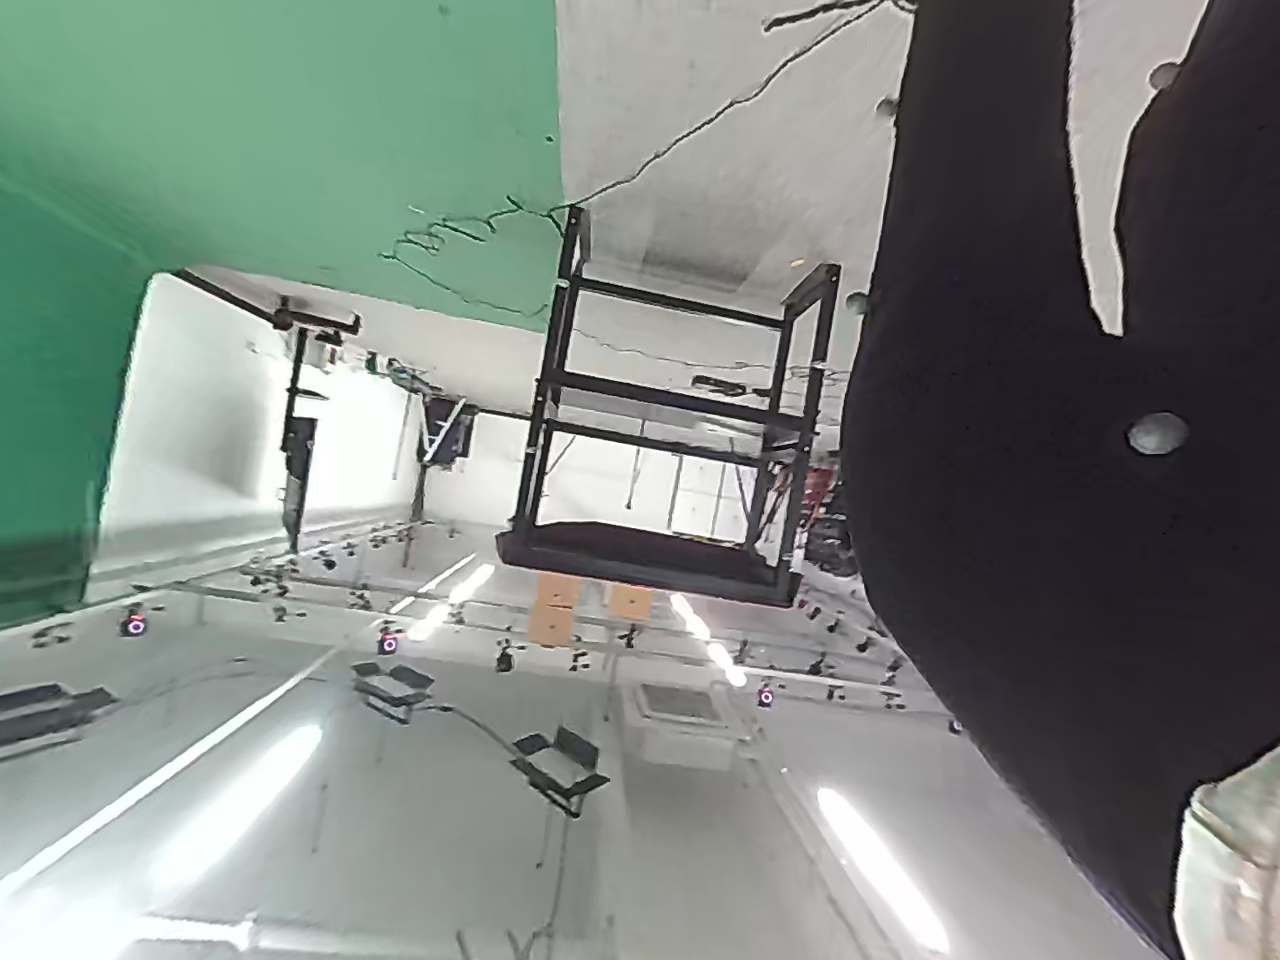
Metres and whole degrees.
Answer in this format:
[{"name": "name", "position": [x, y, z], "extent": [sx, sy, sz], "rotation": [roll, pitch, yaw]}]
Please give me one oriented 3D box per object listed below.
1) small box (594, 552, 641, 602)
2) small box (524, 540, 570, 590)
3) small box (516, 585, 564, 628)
[{"name": "small box", "position": [-0.099, 0.419, 2.361], "extent": [0.179, 0.176, 0.168], "rotation": [9, -178, -8]}, {"name": "small box", "position": [-0.403, 0.366, 2.340], "extent": [0.179, 0.176, 0.168], "rotation": [9, -178, -10]}, {"name": "small box", "position": [-0.428, 0.528, 2.343], "extent": [0.179, 0.176, 0.168], "rotation": [8, -178, -3]}]
